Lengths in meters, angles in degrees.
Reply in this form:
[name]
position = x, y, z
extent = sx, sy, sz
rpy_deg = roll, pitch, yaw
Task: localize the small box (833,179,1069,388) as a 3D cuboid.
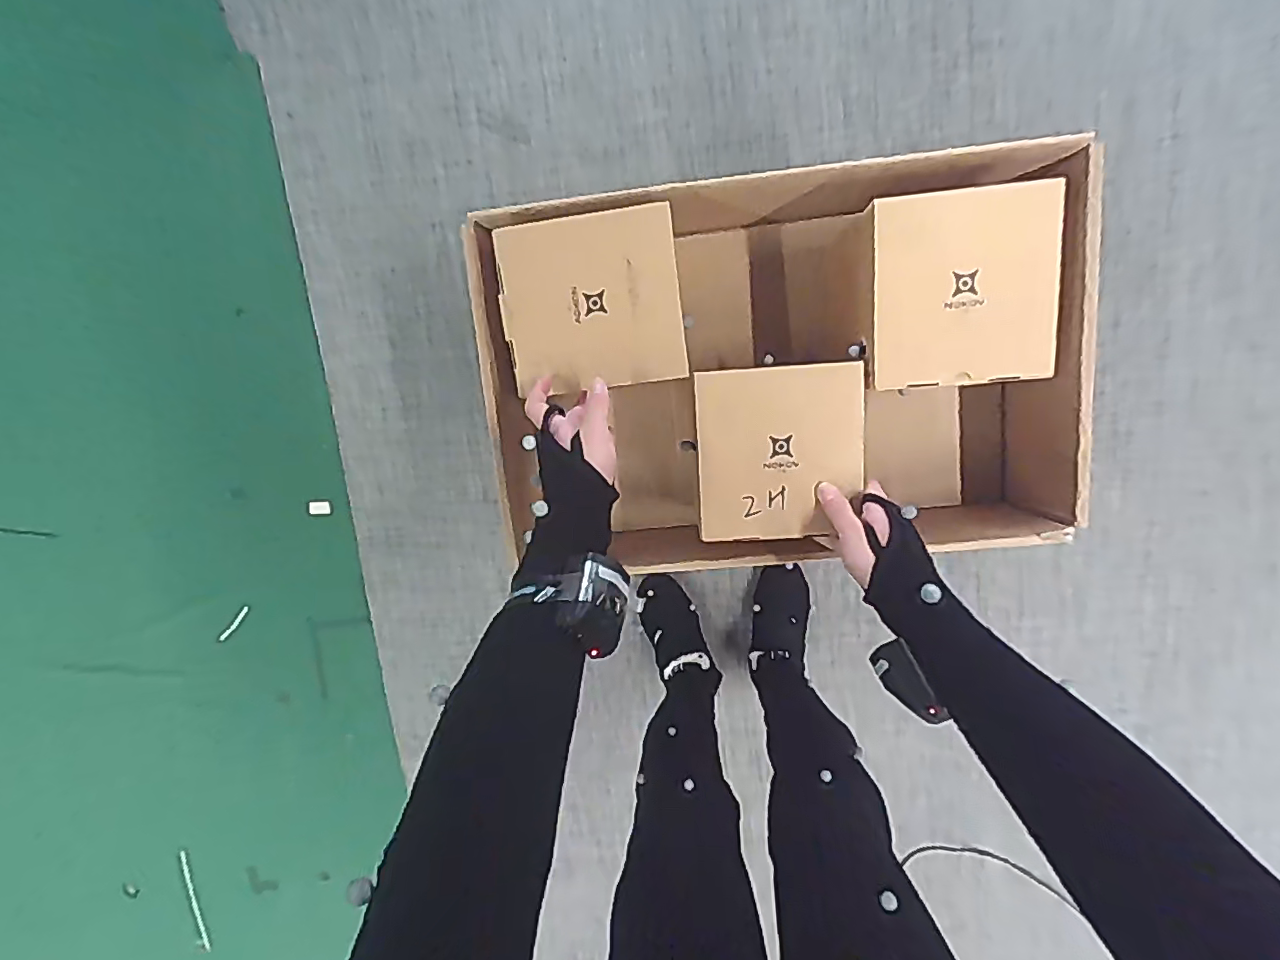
[small box]
position = 0.310, -0.191, 0.576
extent = 0.168, 0.176, 0.179
rpy_deg = -4, 100, 6
